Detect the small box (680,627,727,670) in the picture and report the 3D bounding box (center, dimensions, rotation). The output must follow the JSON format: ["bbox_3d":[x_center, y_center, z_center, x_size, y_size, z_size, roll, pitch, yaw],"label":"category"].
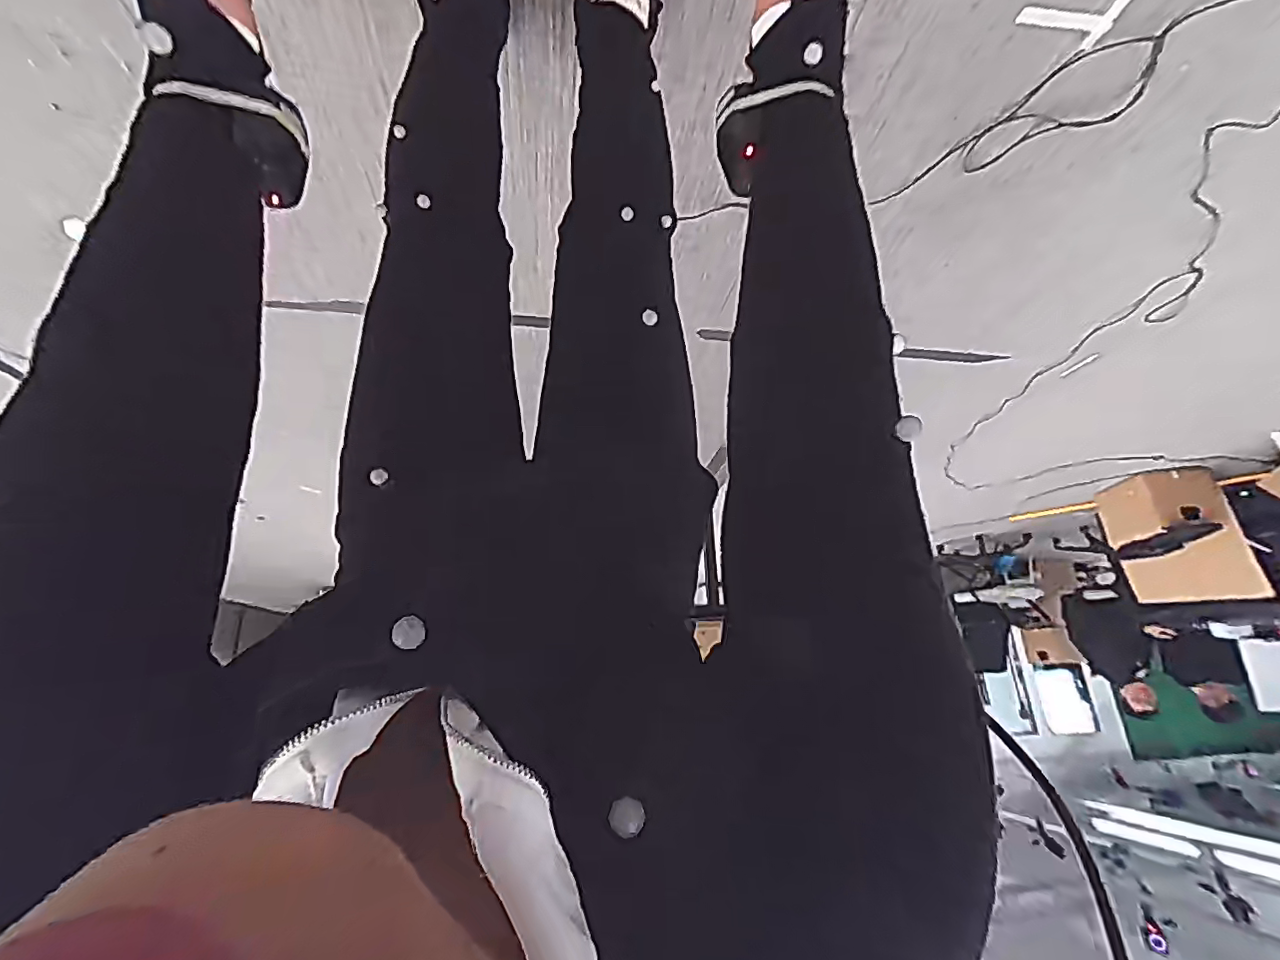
[{"bbox_3d":[0.266,0.715,2.299,0.168,0.176,0.179,1,161,-5],"label":"small box"}]
